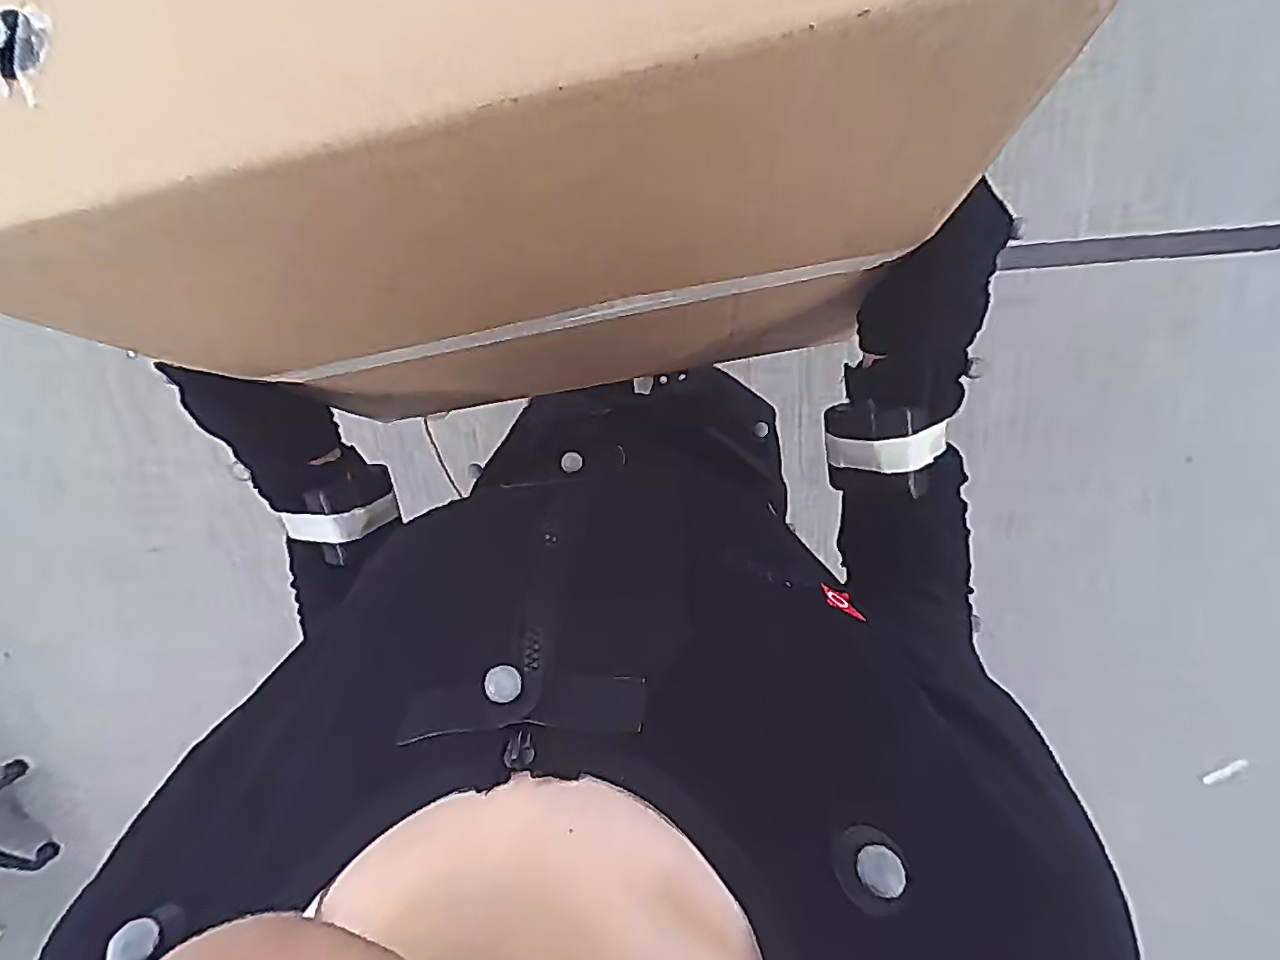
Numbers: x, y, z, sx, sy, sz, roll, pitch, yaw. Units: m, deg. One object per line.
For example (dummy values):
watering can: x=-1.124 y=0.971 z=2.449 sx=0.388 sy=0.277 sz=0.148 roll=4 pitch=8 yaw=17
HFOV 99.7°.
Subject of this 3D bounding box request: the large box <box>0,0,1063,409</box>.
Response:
large box: x=-0.069 y=-0.255 z=0.330 sx=0.408 sy=0.320 sz=0.320 roll=-9 pitch=86 yaw=6
